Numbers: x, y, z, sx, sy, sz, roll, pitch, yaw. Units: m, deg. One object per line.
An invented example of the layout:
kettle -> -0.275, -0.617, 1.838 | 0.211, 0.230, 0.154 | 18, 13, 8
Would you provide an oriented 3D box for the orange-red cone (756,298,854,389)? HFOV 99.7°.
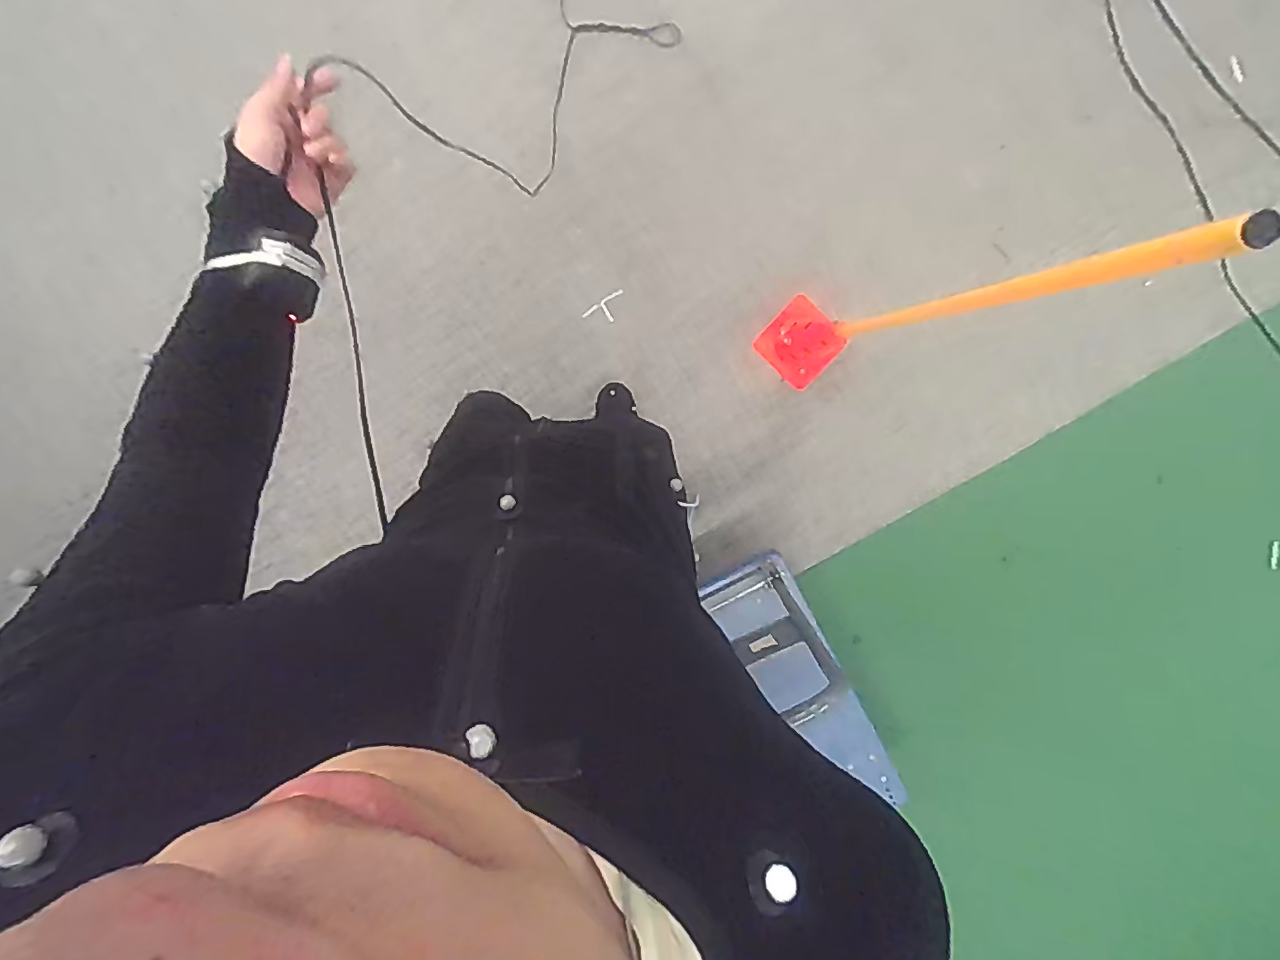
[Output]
orange-red cone -> 0.451, -0.354, 1.352 | 0.198, 0.360, 0.199 | 43, 97, -7
